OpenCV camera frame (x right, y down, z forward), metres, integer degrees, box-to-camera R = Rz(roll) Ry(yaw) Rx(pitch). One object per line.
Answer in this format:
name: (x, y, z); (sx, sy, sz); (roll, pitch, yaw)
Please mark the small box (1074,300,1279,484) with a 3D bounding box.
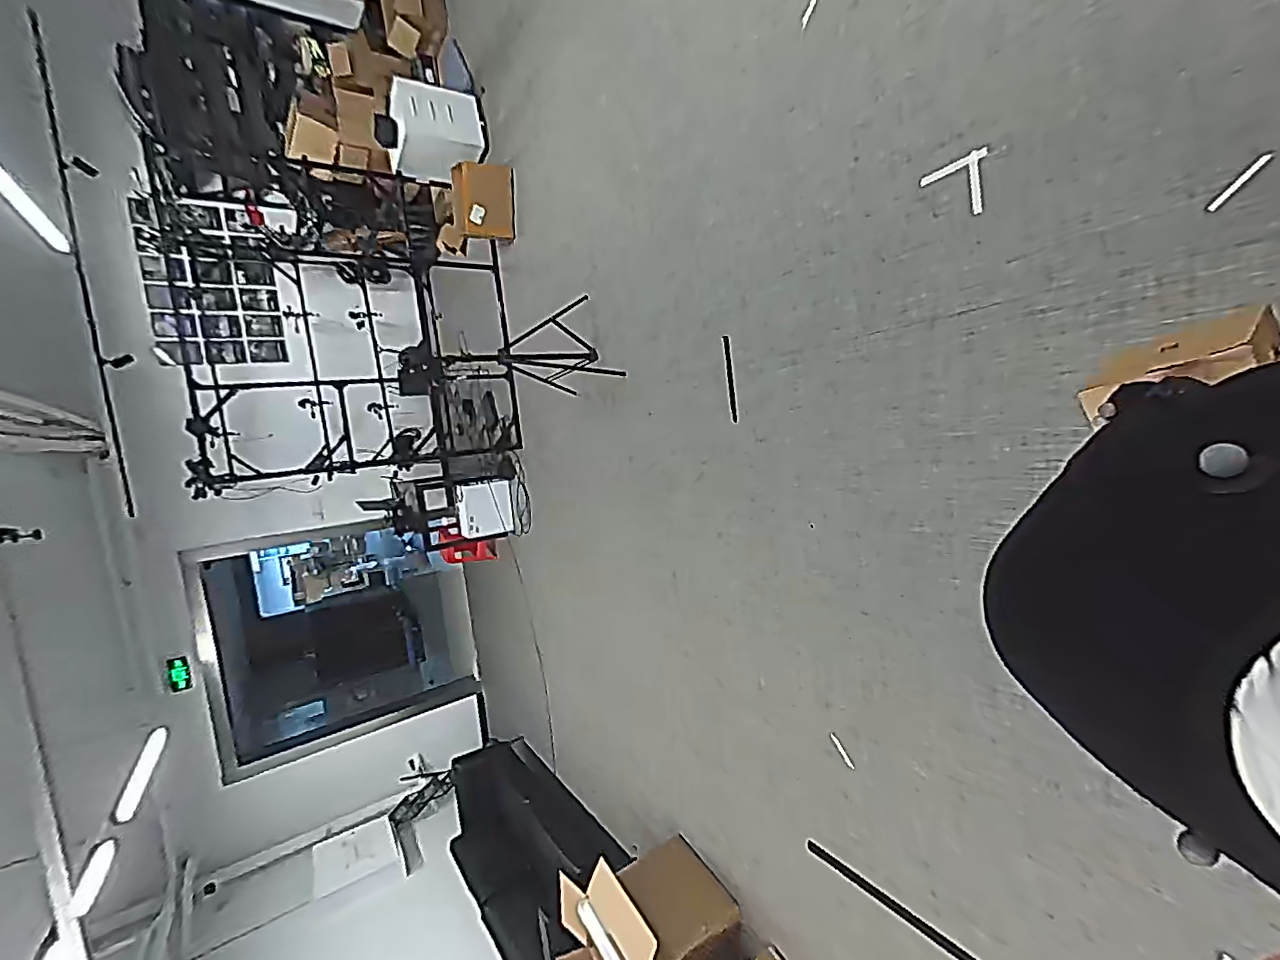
small box: (0.733, -0.104, 0.721); (0.176, 0.179, 0.168); (60, 150, -6)
